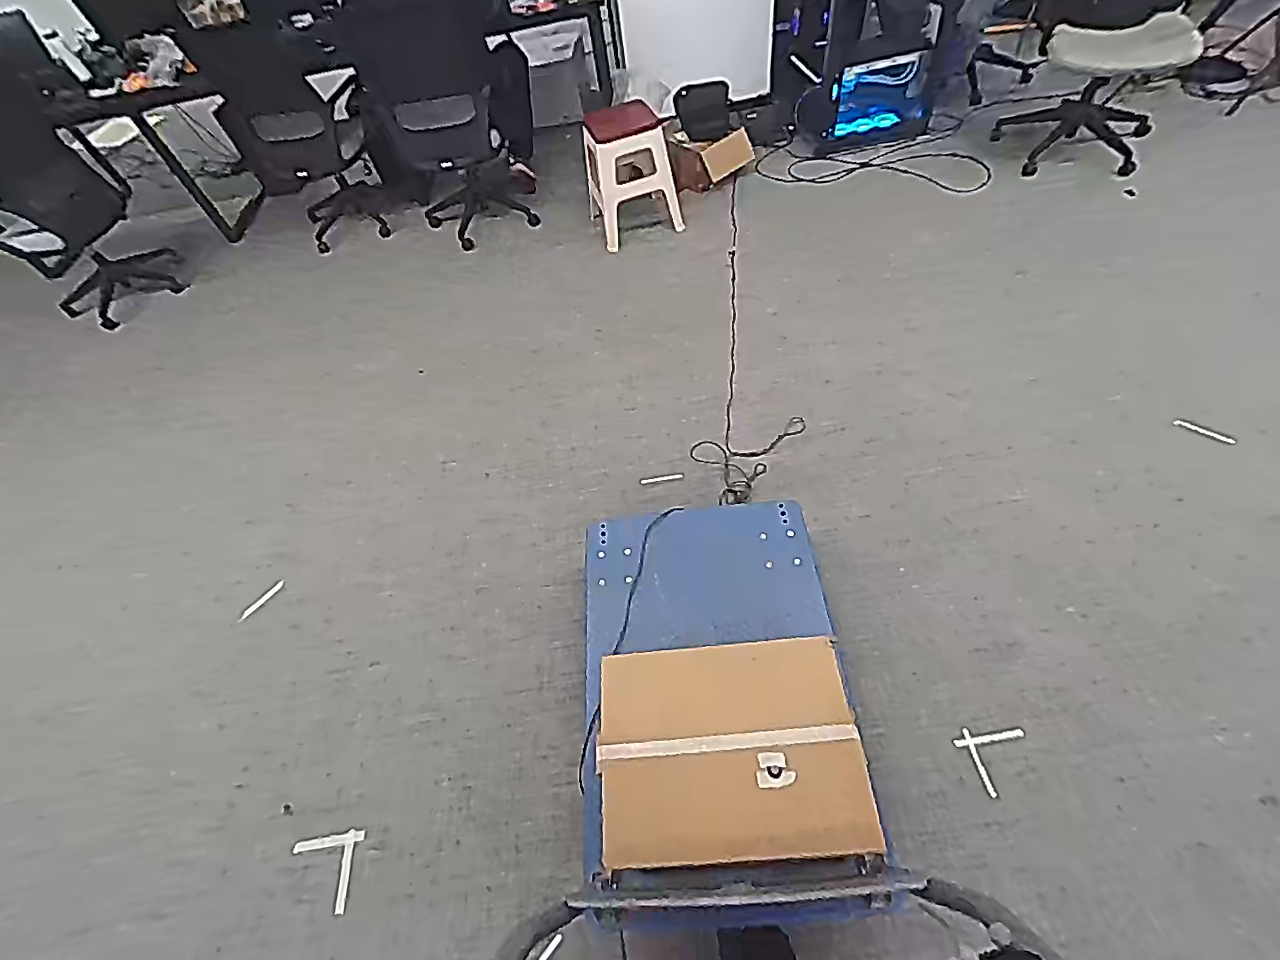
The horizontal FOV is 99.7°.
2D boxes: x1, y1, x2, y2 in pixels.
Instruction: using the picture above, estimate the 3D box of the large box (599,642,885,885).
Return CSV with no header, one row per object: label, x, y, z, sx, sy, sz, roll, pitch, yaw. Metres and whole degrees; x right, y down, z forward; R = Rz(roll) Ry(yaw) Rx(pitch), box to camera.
large box,0.151,0.511,0.964,0.408,0.320,0.320,-7,54,4
